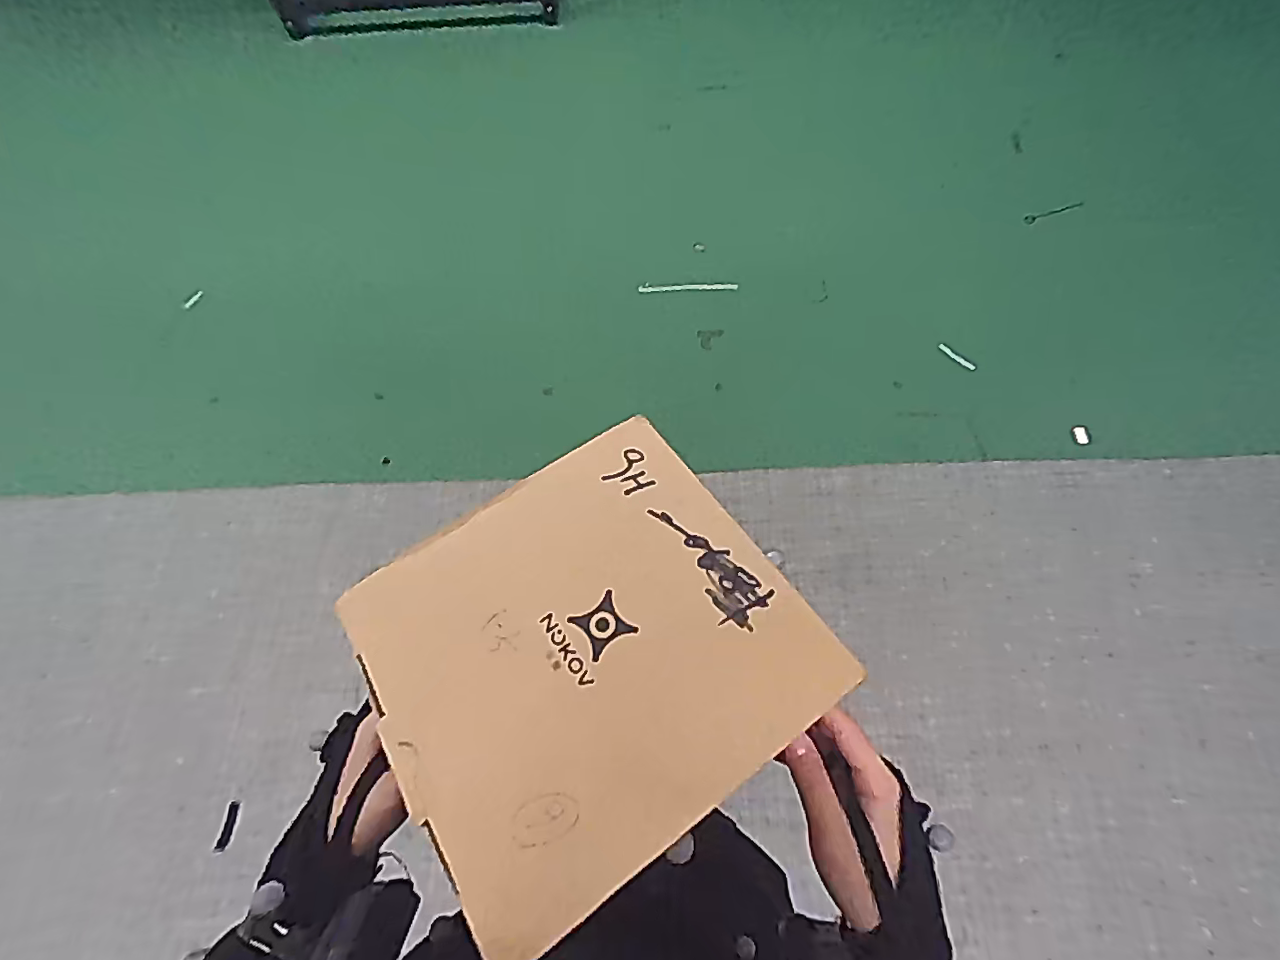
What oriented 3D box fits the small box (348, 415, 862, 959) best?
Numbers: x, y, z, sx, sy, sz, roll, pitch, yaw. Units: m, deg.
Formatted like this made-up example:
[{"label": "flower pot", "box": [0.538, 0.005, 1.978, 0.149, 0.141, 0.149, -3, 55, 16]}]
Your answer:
[{"label": "small box", "box": [-0.016, 0.104, 0.305, 0.179, 0.176, 0.168, -33, 64, -13]}]
